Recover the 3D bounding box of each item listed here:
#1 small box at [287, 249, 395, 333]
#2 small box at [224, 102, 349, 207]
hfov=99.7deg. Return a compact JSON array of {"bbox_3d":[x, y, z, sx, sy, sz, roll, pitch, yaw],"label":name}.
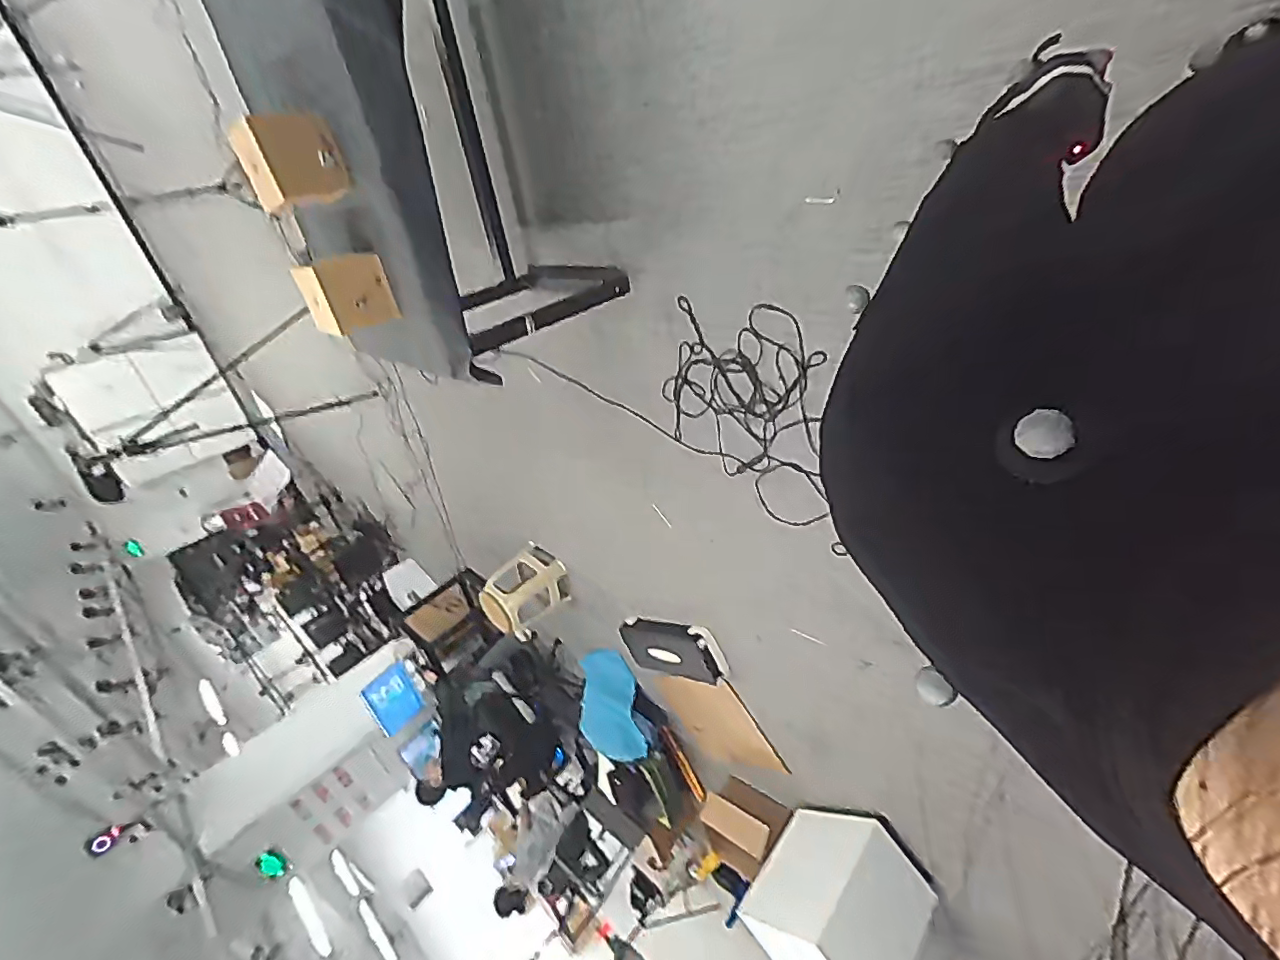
[{"bbox_3d":[-0.765,-0.494,1.402,0.179,0.176,0.168,20,132,40],"label":"small box"},{"bbox_3d":[-0.805,-0.745,1.244,0.179,0.176,0.168,13,128,43],"label":"small box"}]
